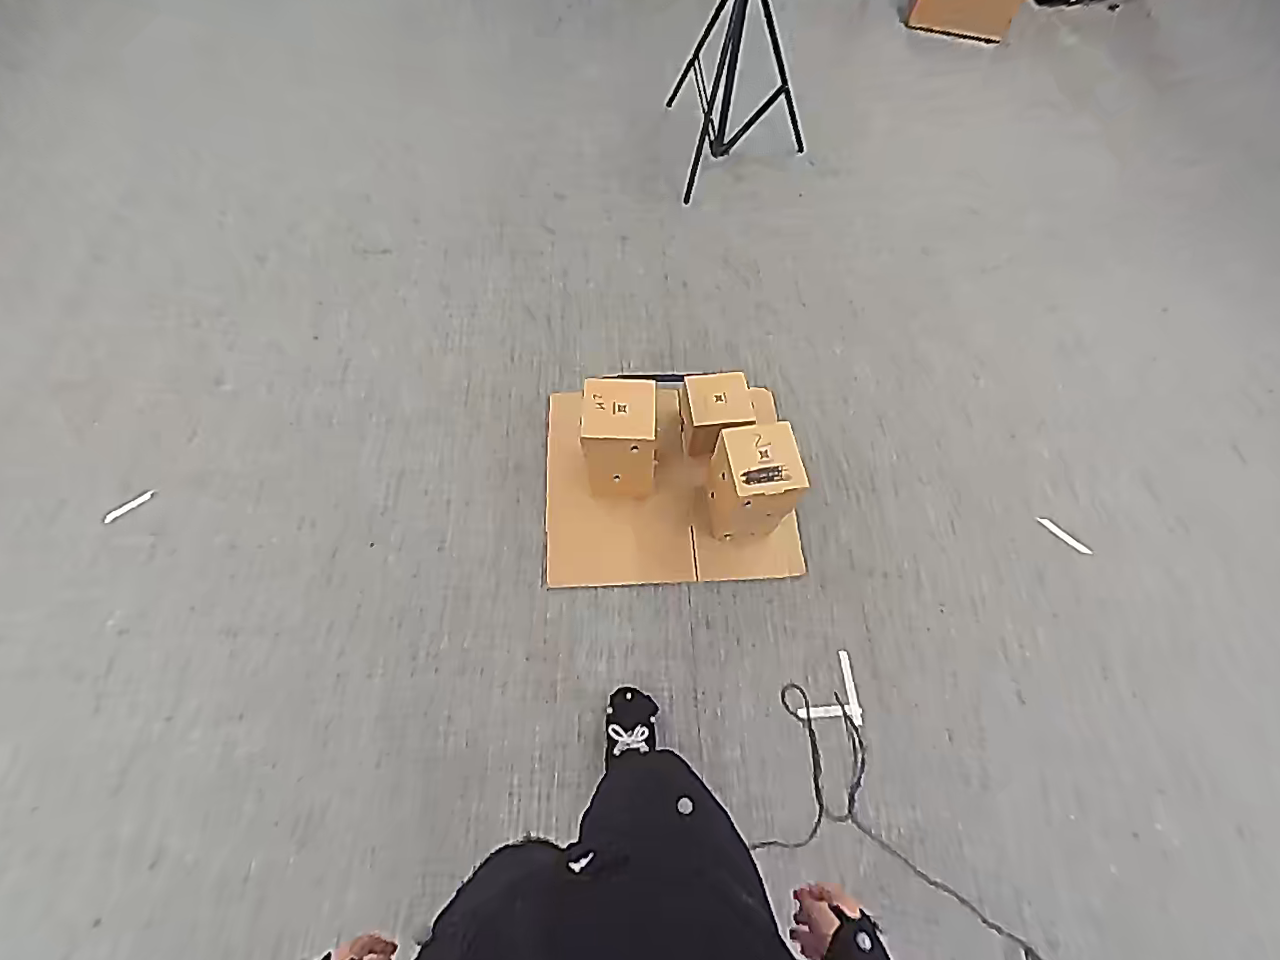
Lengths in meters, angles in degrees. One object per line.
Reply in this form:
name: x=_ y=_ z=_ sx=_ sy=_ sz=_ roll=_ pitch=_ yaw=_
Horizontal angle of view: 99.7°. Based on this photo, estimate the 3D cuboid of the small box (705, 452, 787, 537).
small box: x=0.275 y=0.046 z=1.445 sx=0.168 sy=0.176 sz=0.179 roll=-6 pitch=65 yaw=-5

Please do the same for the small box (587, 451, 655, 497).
small box: x=-0.050 y=-0.060 z=1.484 sx=0.179 sy=0.176 sz=0.168 roll=1 pitch=65 yaw=0

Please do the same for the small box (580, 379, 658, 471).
small box: x=-0.048 y=-0.131 z=1.335 sx=0.179 sy=0.176 sz=0.168 roll=2 pitch=65 yaw=0

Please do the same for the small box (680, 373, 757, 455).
small box: x=0.219 y=-0.186 z=1.553 sx=0.179 sy=0.176 sz=0.168 roll=-6 pitch=64 yaw=-4
